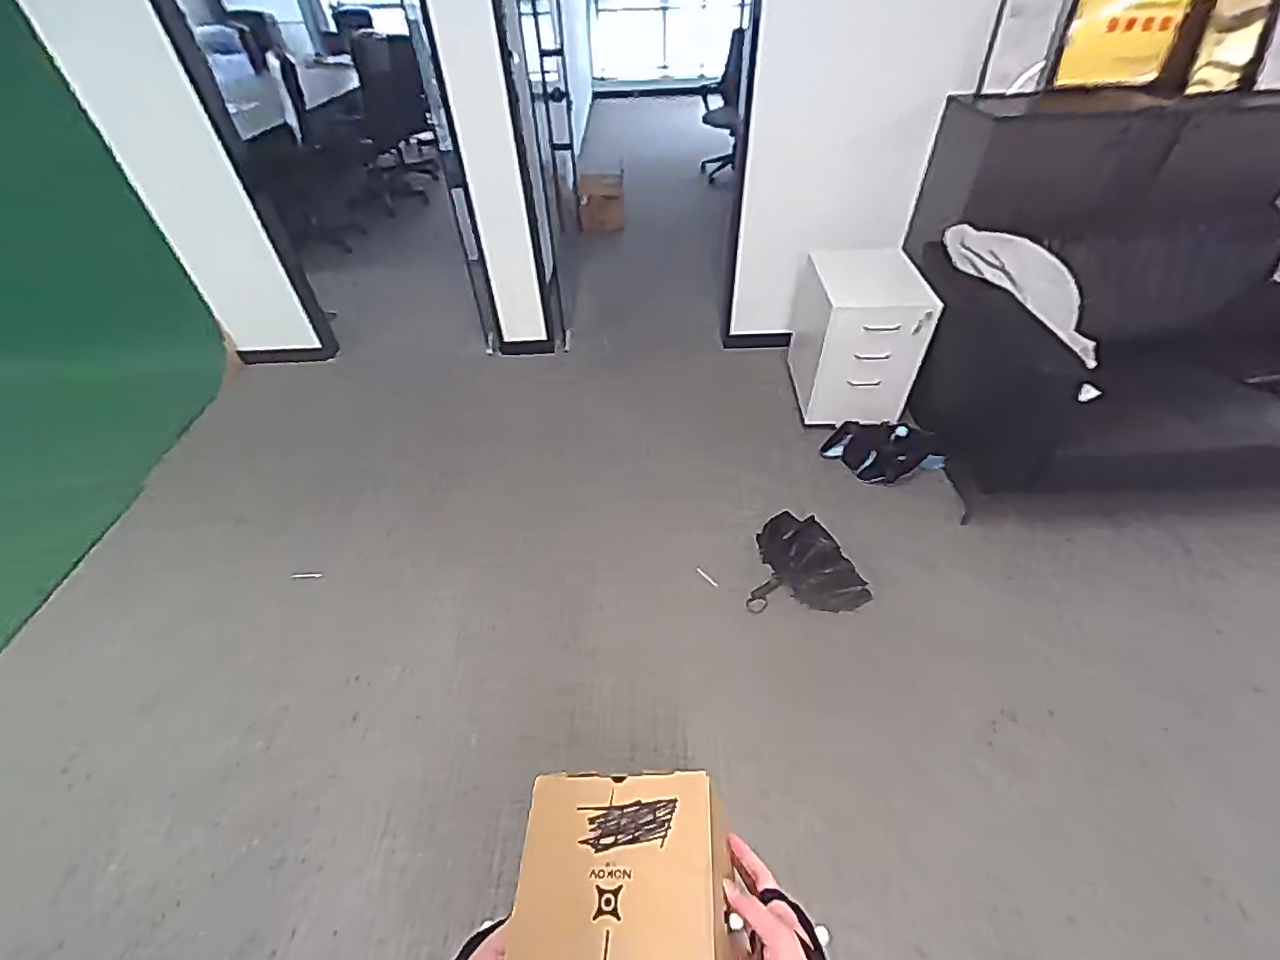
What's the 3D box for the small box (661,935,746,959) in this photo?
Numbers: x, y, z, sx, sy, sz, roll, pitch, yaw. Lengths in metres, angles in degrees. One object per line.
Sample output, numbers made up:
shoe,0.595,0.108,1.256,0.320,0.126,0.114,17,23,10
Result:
small box,0.115,1.044,1.075,0.168,0.176,0.179,6,46,9
